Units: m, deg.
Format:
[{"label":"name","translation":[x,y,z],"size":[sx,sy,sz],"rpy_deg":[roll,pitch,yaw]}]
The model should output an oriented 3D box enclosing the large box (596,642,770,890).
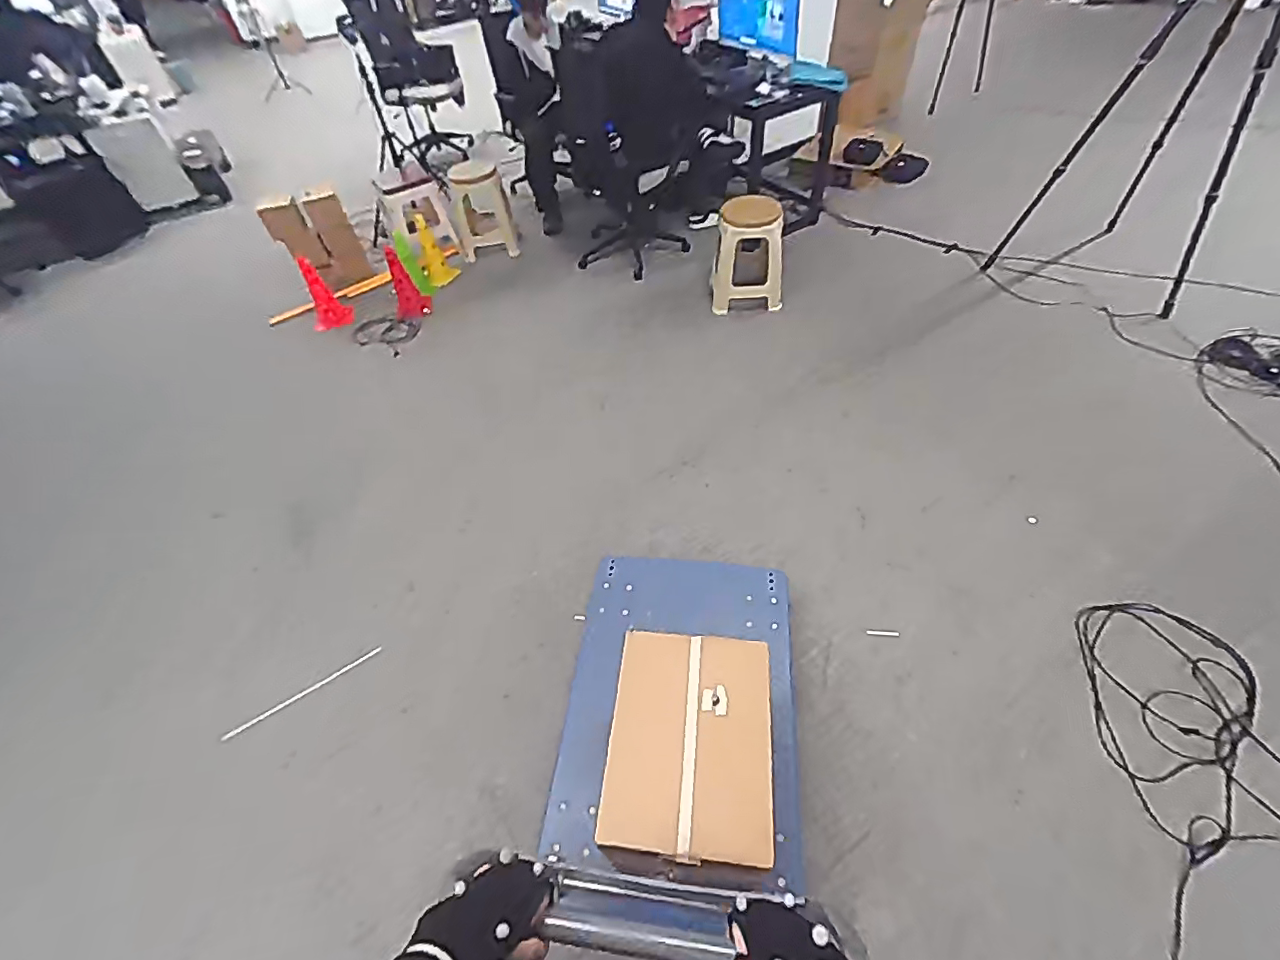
[{"label":"large box","translation":[0.105,0.620,1.183],"size":[0.320,0.320,0.408],"rpy_deg":[4,49,7]}]
